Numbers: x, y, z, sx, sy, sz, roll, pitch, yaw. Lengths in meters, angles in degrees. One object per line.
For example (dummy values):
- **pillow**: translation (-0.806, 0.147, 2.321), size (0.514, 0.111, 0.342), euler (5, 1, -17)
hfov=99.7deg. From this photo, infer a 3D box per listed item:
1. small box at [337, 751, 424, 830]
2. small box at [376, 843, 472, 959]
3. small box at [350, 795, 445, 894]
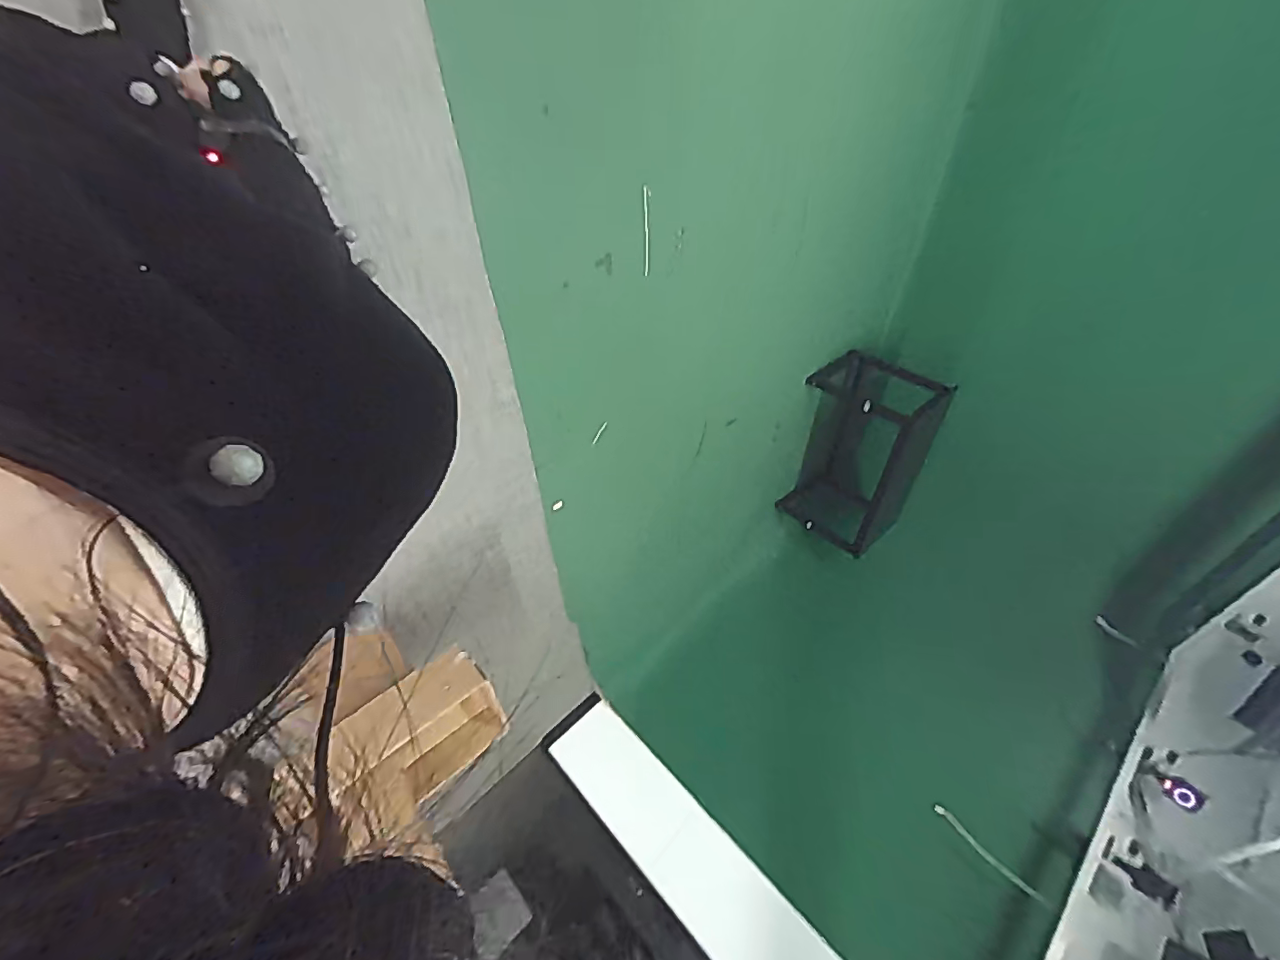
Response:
- **small box**: translation (-0.789, 0.964, 1.642), size (0.168, 0.176, 0.179), euler (-29, 138, -32)
- **small box**: translation (-0.583, 1.133, 1.452), size (0.179, 0.176, 0.168), euler (-31, 139, -31)
- **small box**: translation (-0.689, 1.046, 1.541), size (0.179, 0.176, 0.168), euler (-30, 138, -31)
